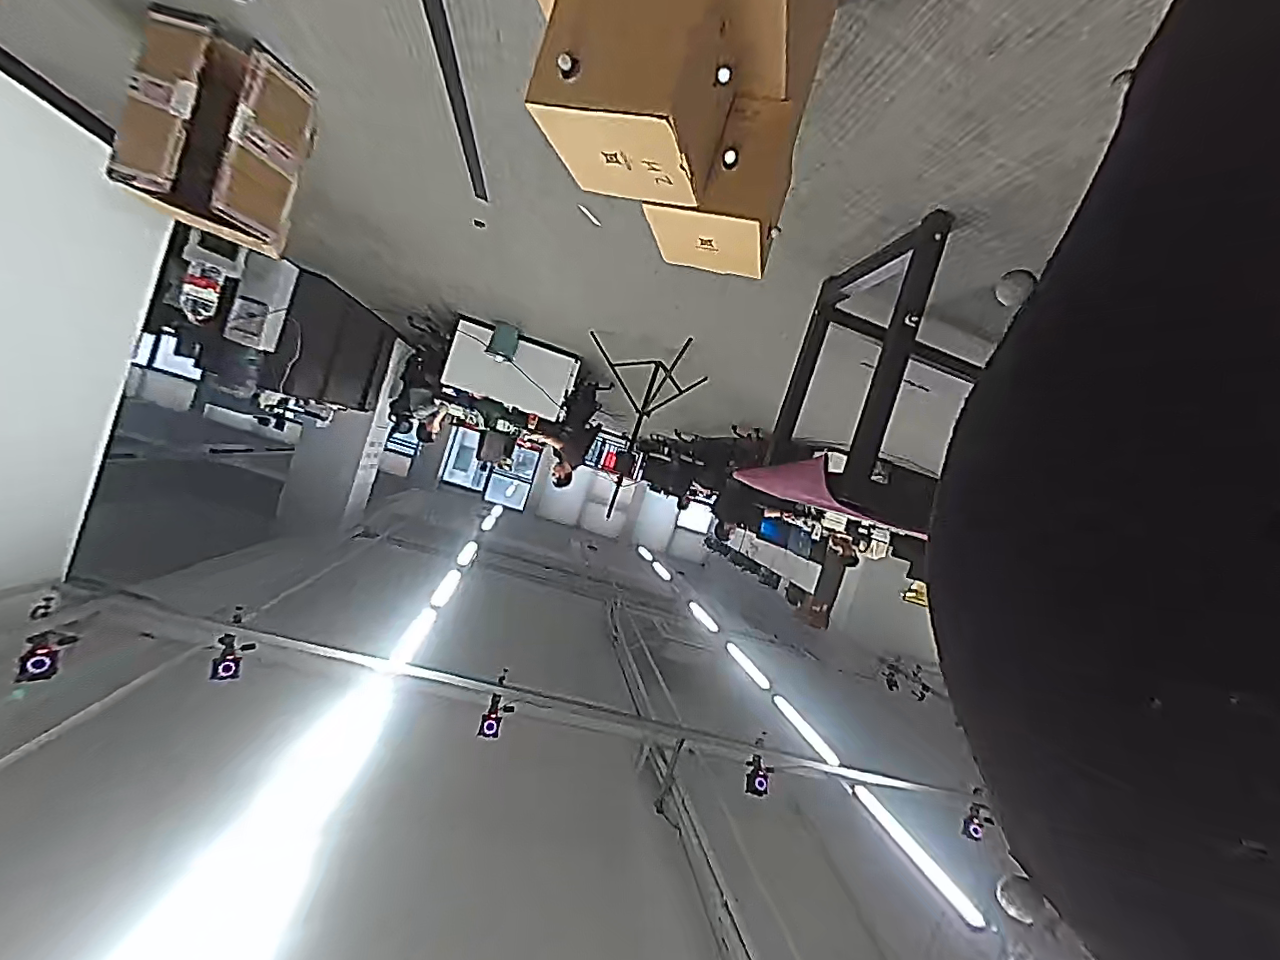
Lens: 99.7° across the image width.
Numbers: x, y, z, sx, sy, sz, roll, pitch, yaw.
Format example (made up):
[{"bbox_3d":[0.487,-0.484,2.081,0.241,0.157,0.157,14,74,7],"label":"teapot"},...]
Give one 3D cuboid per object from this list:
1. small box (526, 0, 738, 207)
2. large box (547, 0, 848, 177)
[{"bbox_3d":[0.000,-0.456,0.632,0.179,0.176,0.168,17,-178,17],"label":"small box"},{"bbox_3d":[0.098,-0.684,0.717,0.320,0.320,0.408,19,-178,16],"label":"large box"}]
